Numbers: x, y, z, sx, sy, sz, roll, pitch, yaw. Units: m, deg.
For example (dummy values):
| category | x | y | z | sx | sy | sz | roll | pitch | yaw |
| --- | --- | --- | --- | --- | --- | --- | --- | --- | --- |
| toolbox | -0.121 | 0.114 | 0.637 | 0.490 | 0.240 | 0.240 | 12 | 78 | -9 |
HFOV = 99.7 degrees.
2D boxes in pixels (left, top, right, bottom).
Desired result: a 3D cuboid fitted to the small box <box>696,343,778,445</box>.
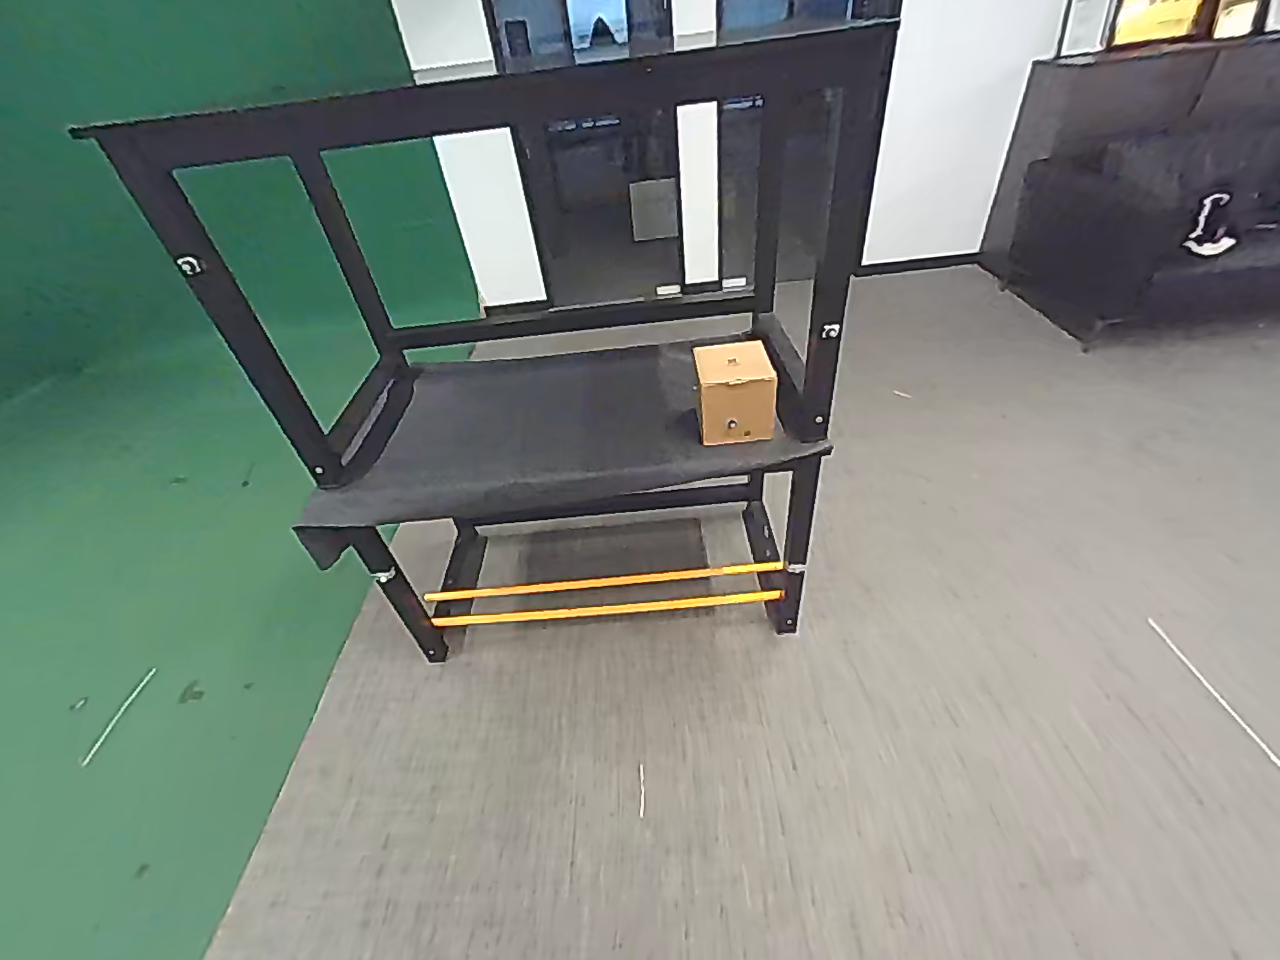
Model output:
| category | x | y | z | sx | sy | sz | roll | pitch | yaw |
| --- | --- | --- | --- | --- | --- | --- | --- | --- | --- |
| small box | 0.222 | -0.203 | 1.274 | 0.168 | 0.176 | 0.179 | -6 | 40 | 3 |
